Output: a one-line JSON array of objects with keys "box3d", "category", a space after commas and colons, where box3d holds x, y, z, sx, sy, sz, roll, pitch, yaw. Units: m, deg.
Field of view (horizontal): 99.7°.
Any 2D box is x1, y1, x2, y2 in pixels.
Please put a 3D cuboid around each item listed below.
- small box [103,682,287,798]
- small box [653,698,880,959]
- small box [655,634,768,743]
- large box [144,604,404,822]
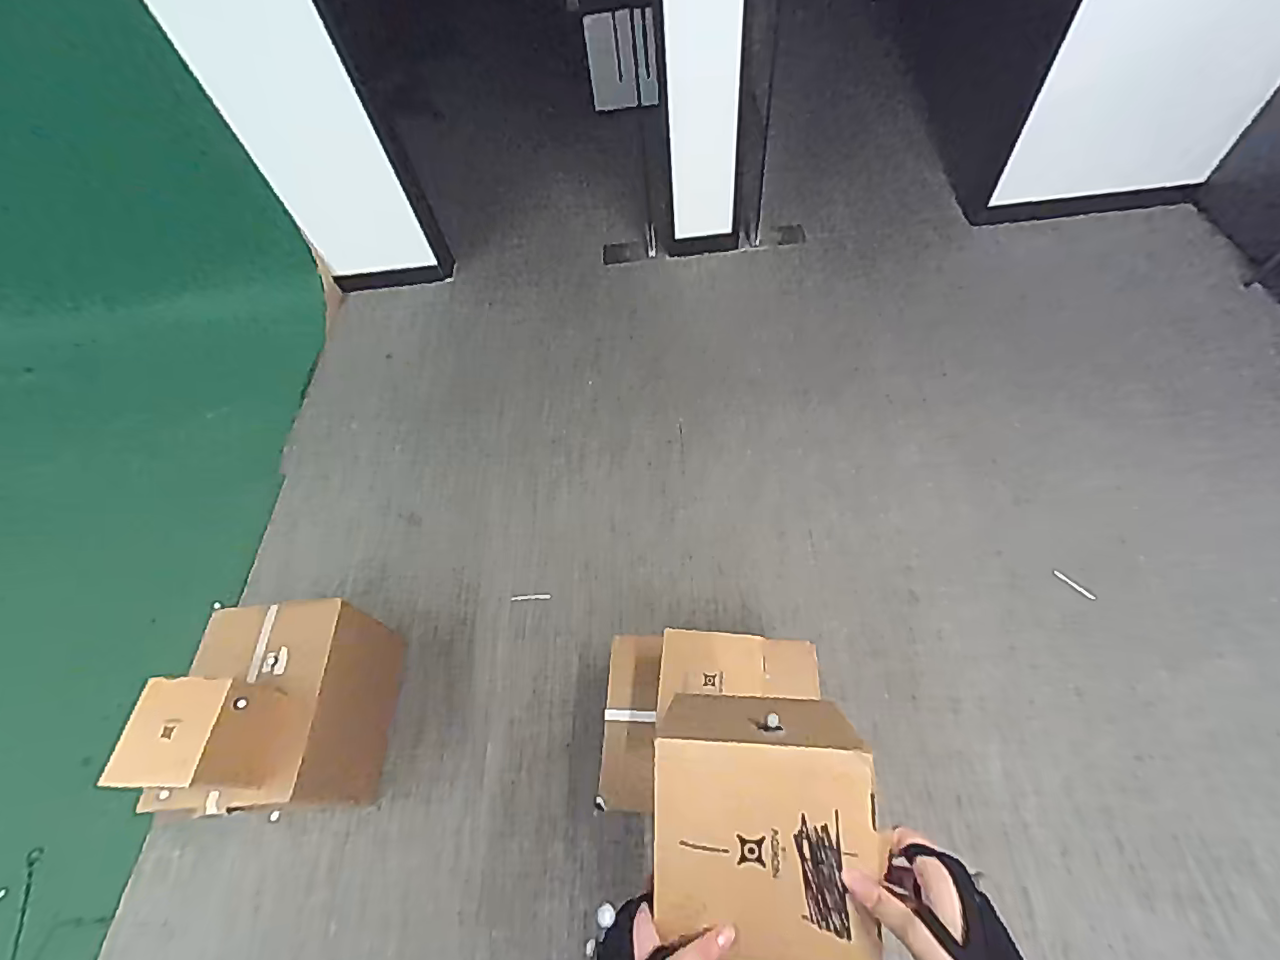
[{"box3d": [-0.802, 0.483, 1.000, 0.168, 0.176, 0.179, -2, 56, 5], "category": "small box"}, {"box3d": [0.110, 0.312, 0.510, 0.179, 0.176, 0.168, -1, 80, 11], "category": "small box"}, {"box3d": [0.127, 0.387, 0.953, 0.179, 0.176, 0.168, 3, 55, 9], "category": "small box"}, {"box3d": [-0.795, 0.544, 1.253, 0.320, 0.320, 0.408, -5, 56, 4], "category": "large box"}]
